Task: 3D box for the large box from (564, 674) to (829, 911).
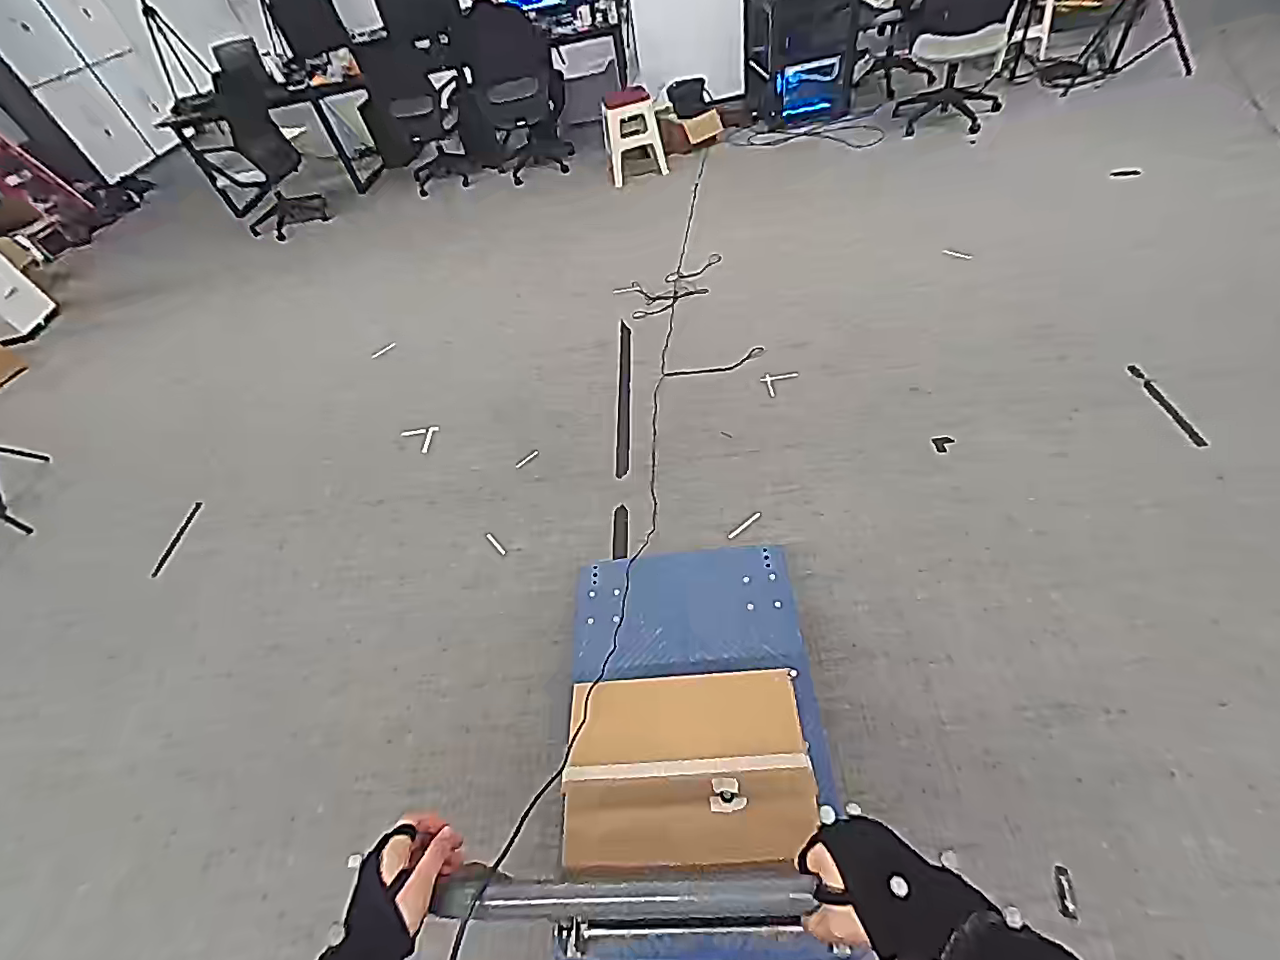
[{"bbox_3d":[0.096,0.586,1.004,0.408,0.320,0.320,-6,48,6],"label":"large box"}]
